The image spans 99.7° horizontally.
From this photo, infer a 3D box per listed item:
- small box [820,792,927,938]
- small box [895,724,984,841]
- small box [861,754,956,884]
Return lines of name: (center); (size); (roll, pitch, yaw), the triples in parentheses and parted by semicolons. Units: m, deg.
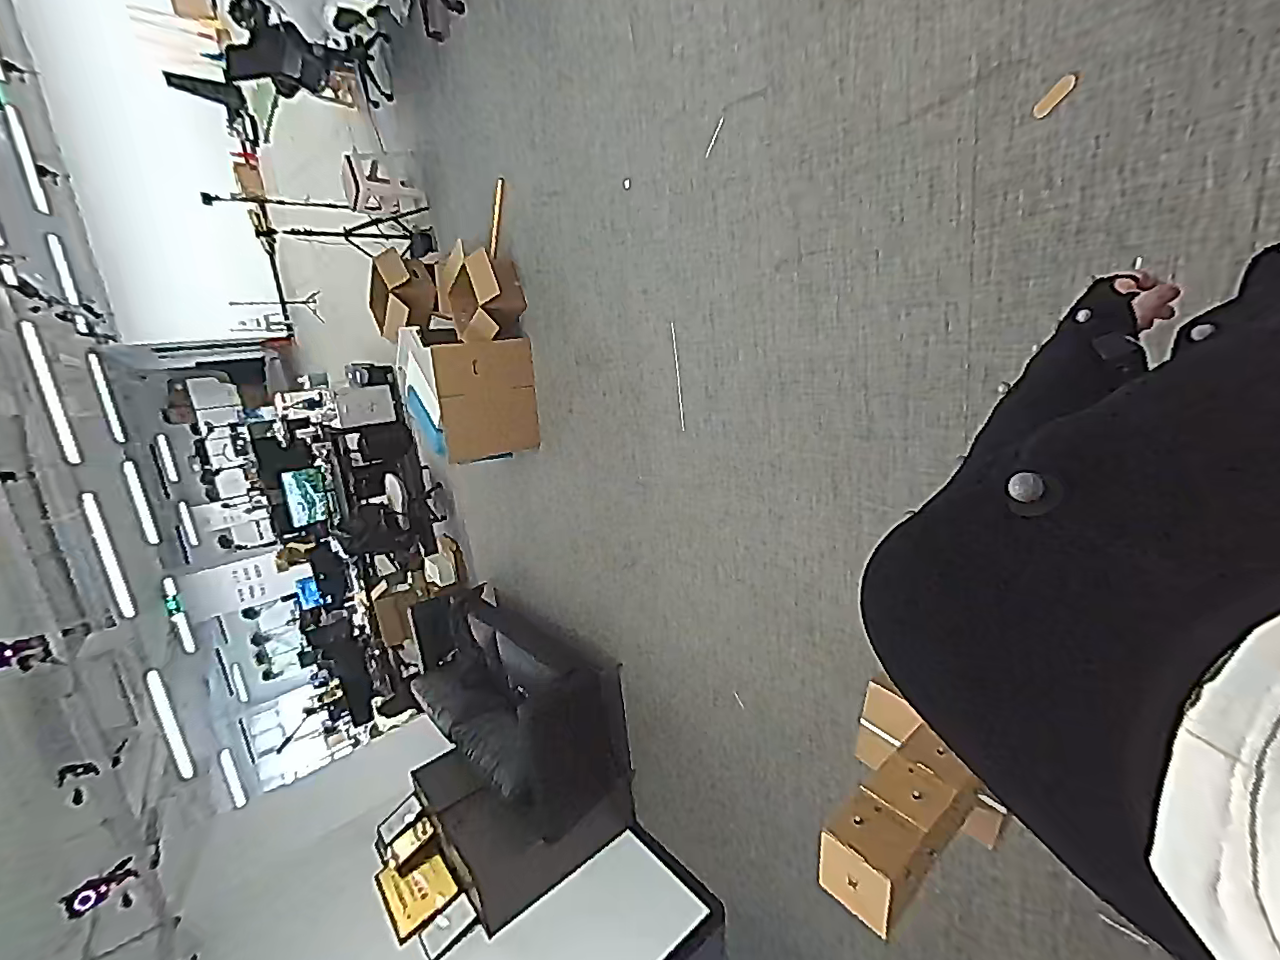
small box: (0.536, 0.869, 1.242); (0.168, 0.176, 0.179); (17, 117, 49)
small box: (0.787, 0.790, 1.436); (0.168, 0.176, 0.179); (19, 117, 48)
small box: (0.660, 0.826, 1.340); (0.168, 0.176, 0.179); (18, 117, 47)
